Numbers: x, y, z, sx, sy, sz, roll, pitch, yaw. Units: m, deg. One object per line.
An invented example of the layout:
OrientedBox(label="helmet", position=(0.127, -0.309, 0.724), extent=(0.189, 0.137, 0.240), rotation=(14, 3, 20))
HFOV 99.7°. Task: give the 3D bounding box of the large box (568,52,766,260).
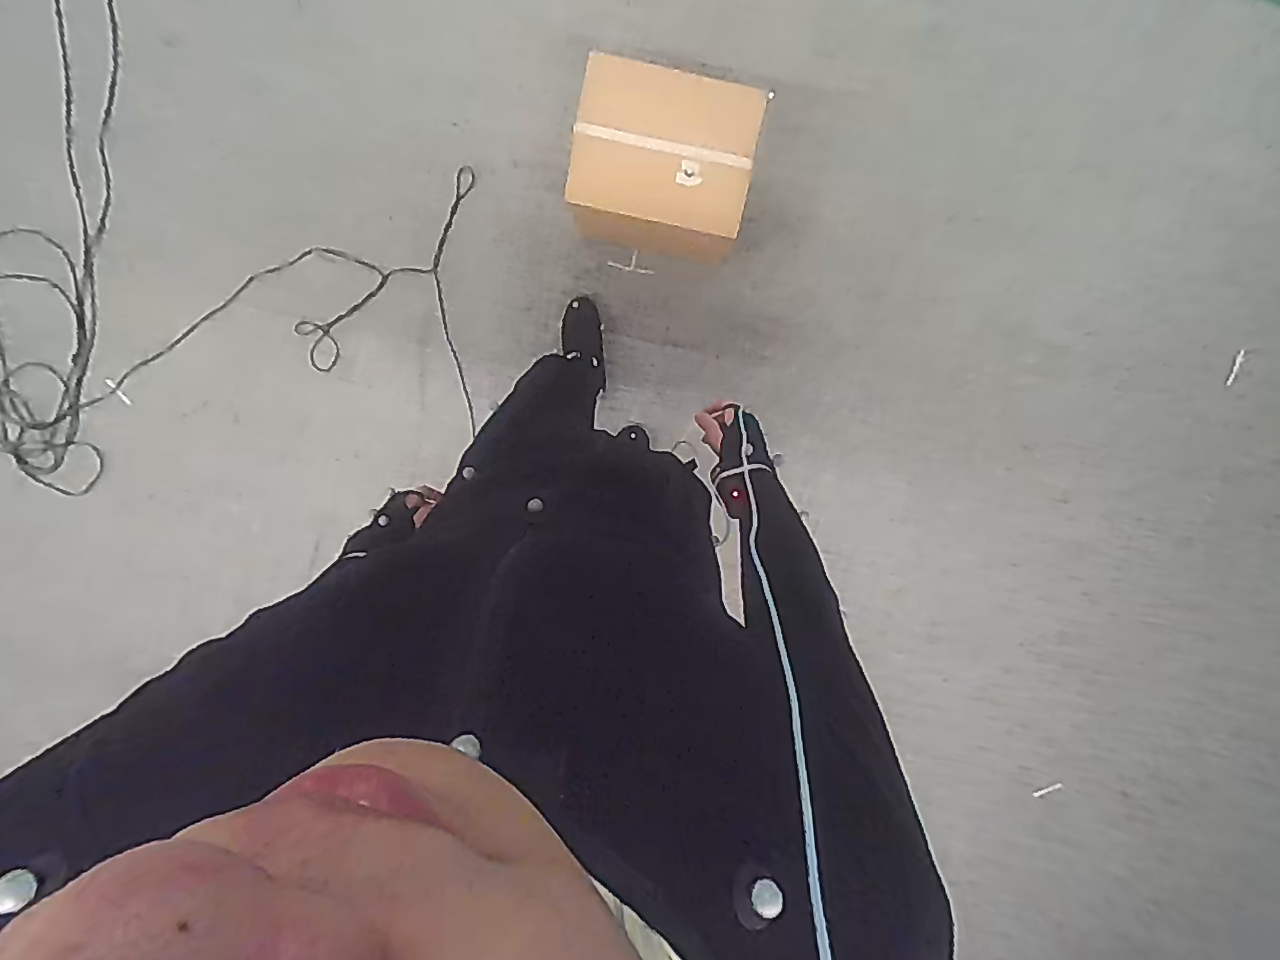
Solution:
OrientedBox(label="large box", position=(0.056, -0.777, 1.353), extent=(0.408, 0.320, 0.320), rotation=(11, 100, -2))
